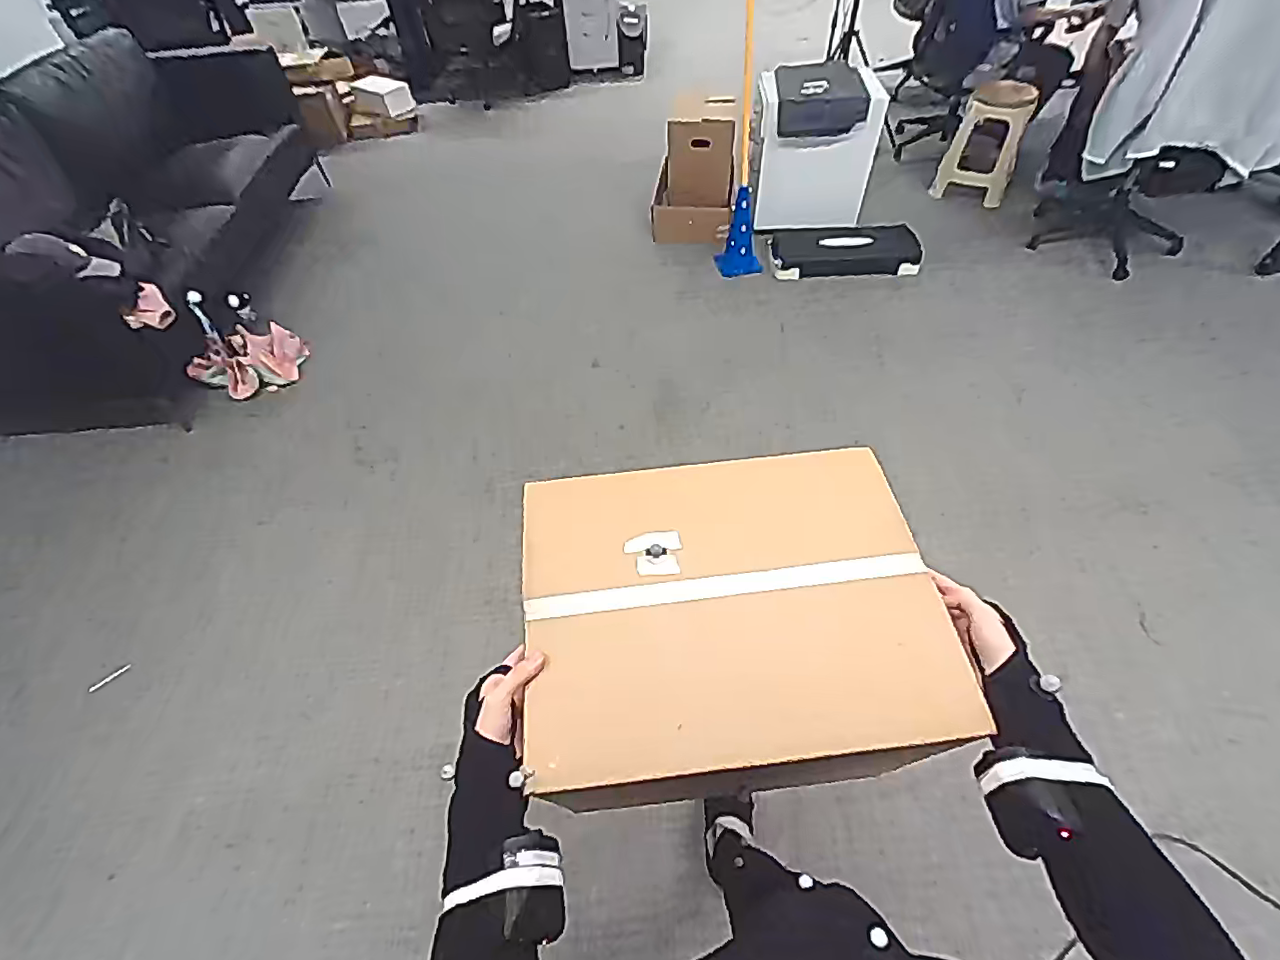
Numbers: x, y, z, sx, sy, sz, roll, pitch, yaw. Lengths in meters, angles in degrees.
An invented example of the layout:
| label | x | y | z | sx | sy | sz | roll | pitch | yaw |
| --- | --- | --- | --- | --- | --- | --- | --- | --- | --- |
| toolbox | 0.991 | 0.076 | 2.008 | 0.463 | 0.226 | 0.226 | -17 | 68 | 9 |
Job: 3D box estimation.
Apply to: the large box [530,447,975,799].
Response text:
| label | x | y | z | sx | sy | sz | roll | pitch | yaw |
| --- | --- | --- | --- | --- | --- | --- | --- | --- | --- |
| large box | 0.095 | 0.193 | 0.680 | 0.408 | 0.320 | 0.320 | -7 | 55 | -1 |
